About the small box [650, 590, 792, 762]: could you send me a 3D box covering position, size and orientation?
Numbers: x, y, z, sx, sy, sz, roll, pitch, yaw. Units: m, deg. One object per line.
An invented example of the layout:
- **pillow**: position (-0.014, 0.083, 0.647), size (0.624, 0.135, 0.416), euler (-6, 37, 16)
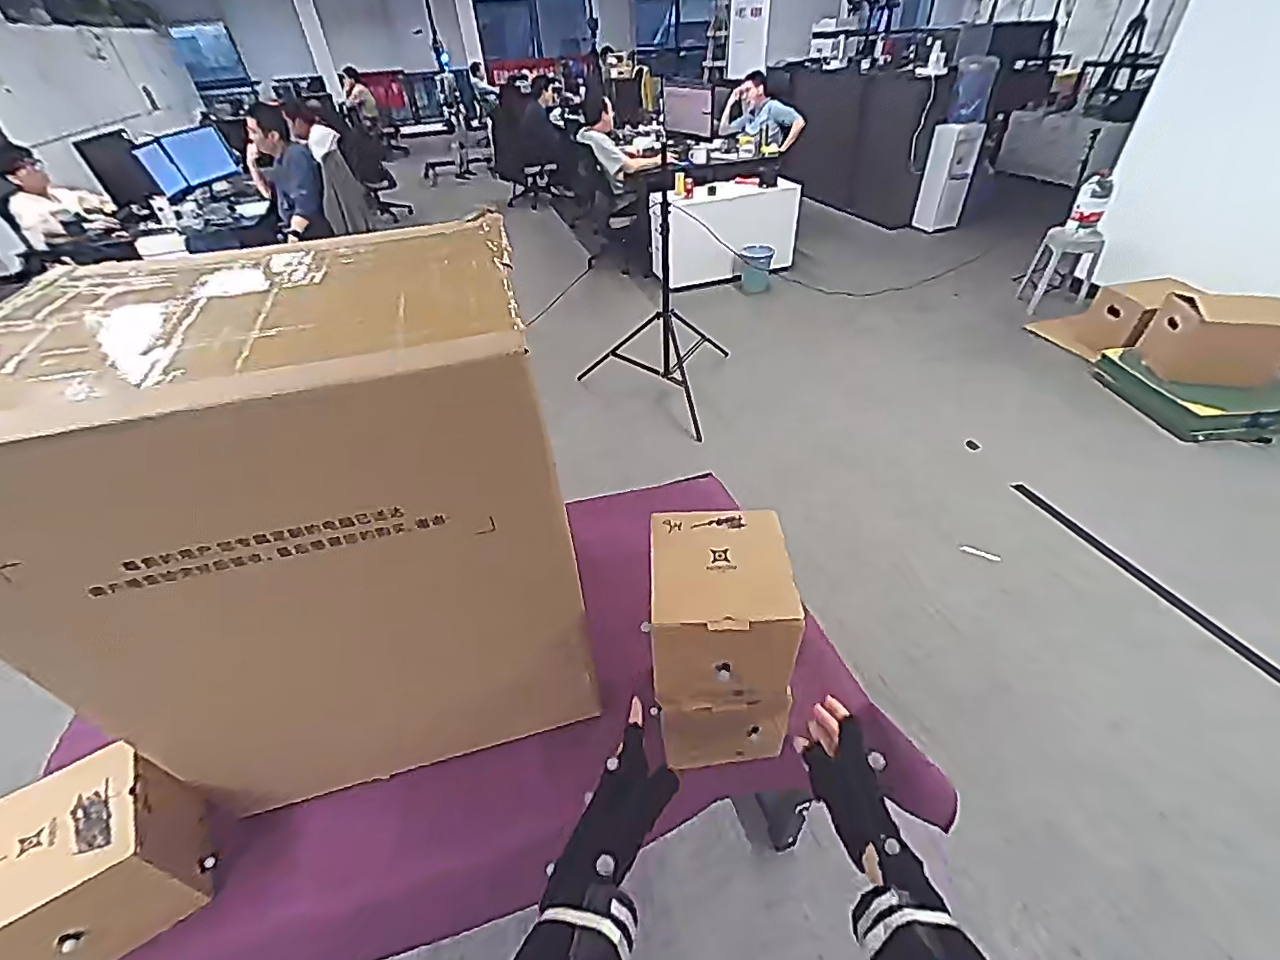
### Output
- **small box**: position (0.109, 0.290, 0.790), size (0.168, 0.176, 0.179), euler (-6, 38, -3)
